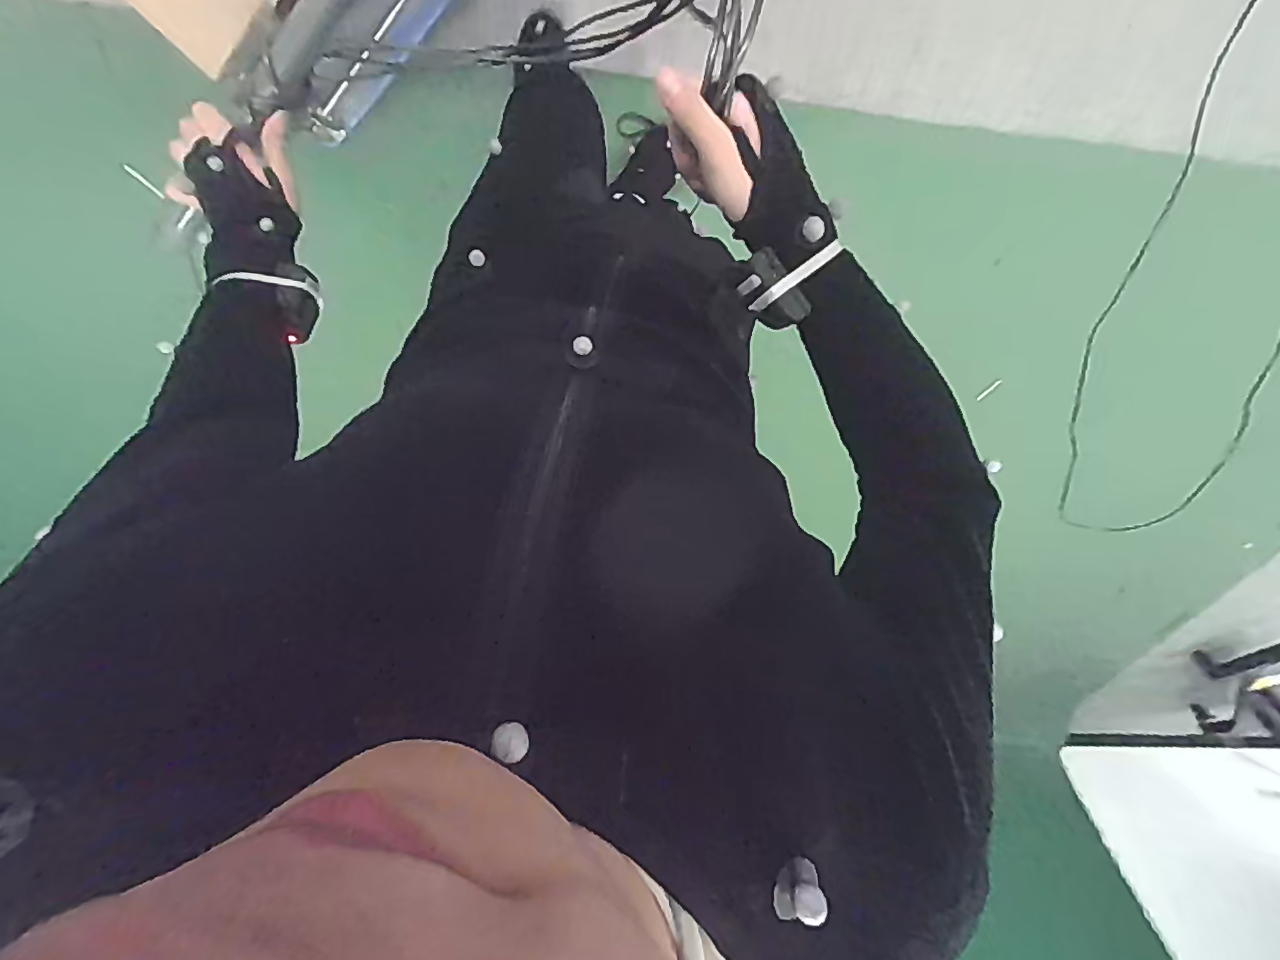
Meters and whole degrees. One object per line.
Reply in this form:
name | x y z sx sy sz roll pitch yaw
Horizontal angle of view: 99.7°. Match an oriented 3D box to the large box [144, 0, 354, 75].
large box | -0.621 -0.880 0.748 0.320 0.320 0.408 -33 125 24
